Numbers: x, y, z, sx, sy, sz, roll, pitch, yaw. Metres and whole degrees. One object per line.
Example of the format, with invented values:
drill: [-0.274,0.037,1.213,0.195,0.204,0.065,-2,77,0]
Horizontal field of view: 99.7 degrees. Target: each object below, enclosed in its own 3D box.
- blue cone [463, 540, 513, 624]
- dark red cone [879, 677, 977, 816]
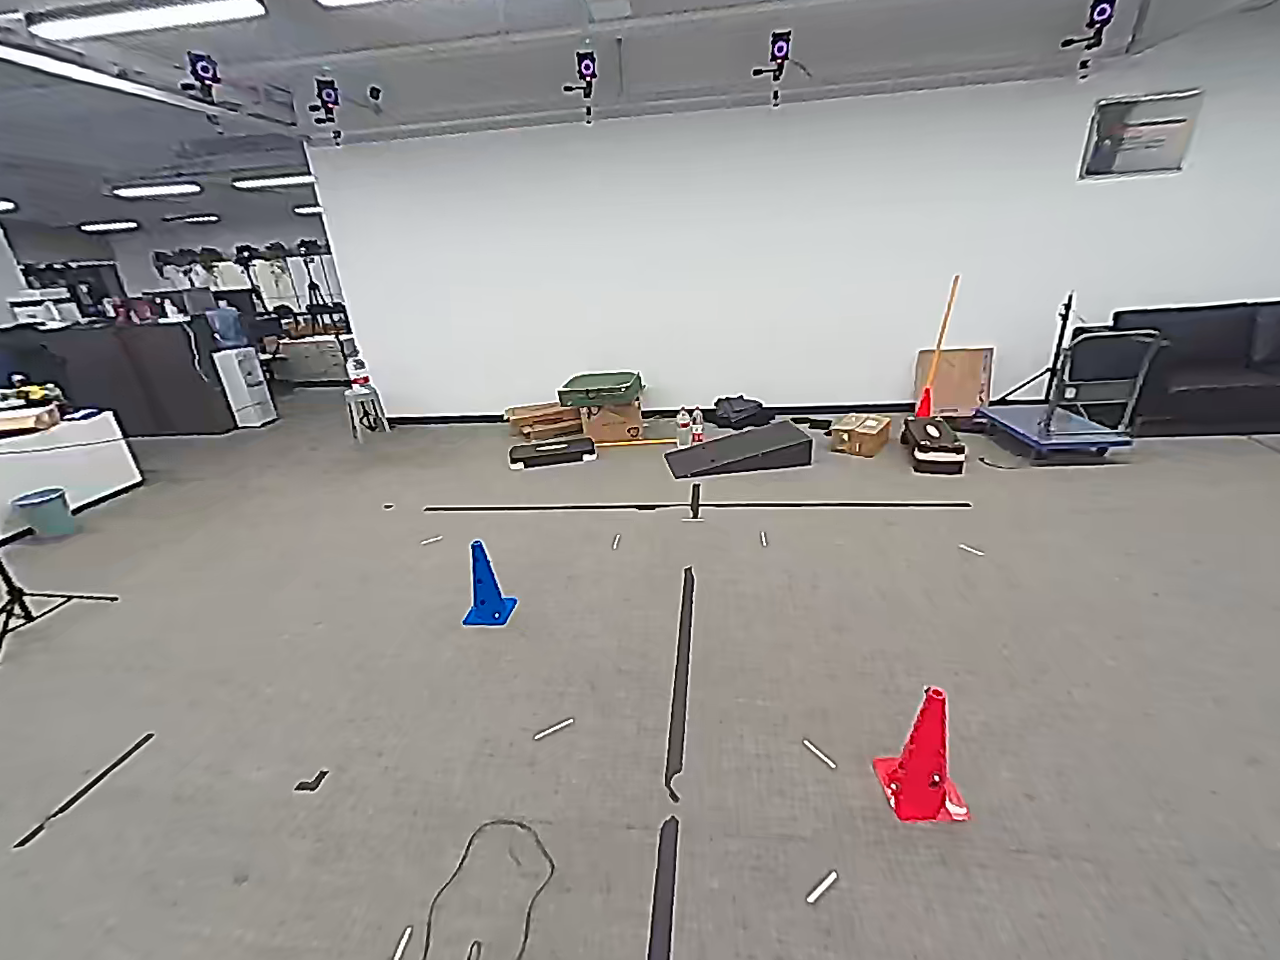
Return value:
blue cone: [-0.693,0.435,2.371,0.192,0.380,0.193,-1,23,9]
dark red cone: [0.787,0.693,1.453,0.201,0.394,0.202,-4,23,1]
